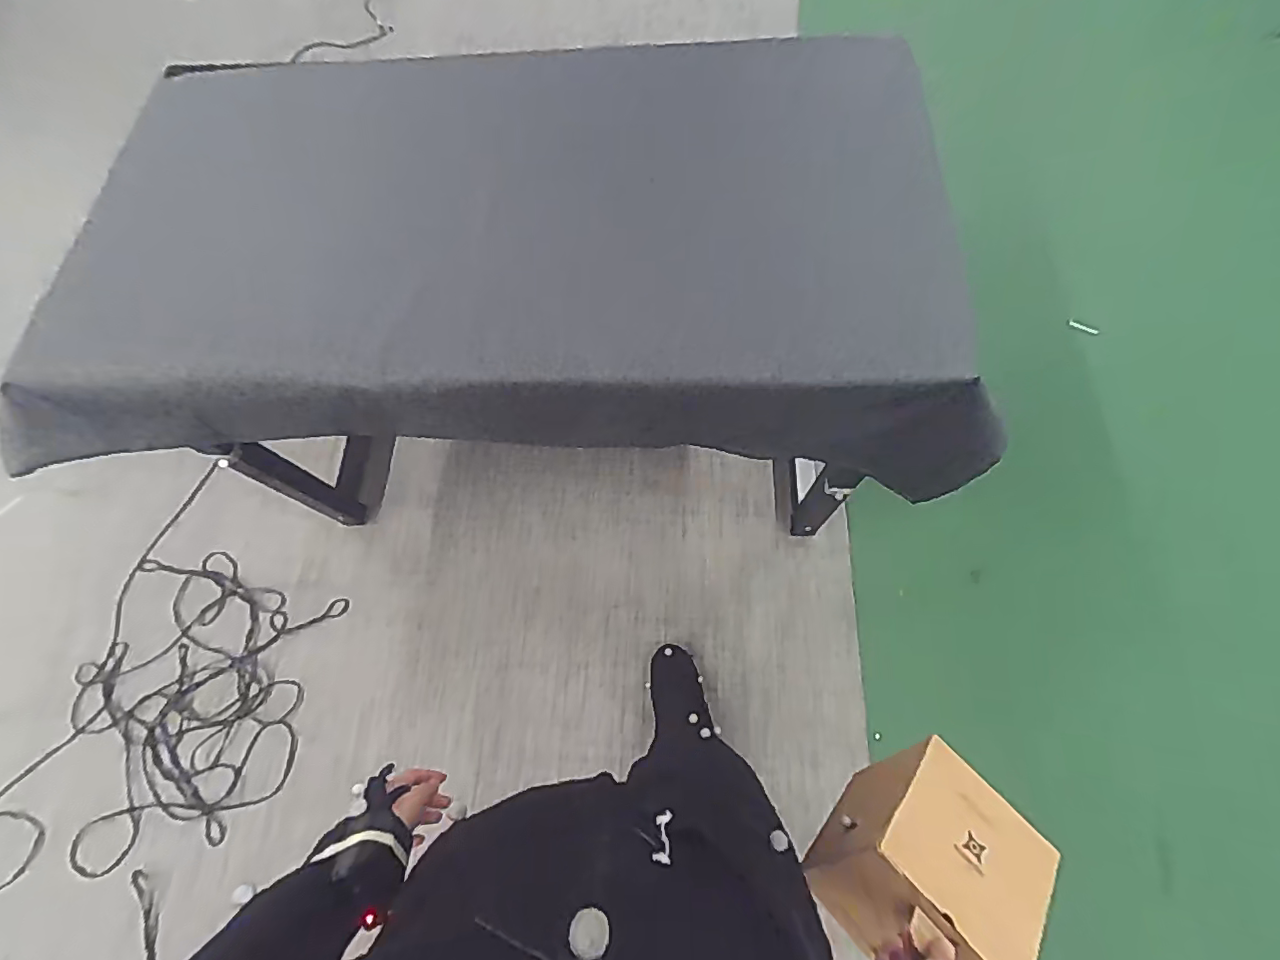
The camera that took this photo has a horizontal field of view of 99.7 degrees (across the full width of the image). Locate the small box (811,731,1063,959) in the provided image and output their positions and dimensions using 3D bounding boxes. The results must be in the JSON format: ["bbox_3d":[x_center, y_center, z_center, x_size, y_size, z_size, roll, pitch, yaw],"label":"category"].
[{"bbox_3d":[0.324,0.433,0.615,0.168,0.176,0.179,44,46,19],"label":"small box"}]
